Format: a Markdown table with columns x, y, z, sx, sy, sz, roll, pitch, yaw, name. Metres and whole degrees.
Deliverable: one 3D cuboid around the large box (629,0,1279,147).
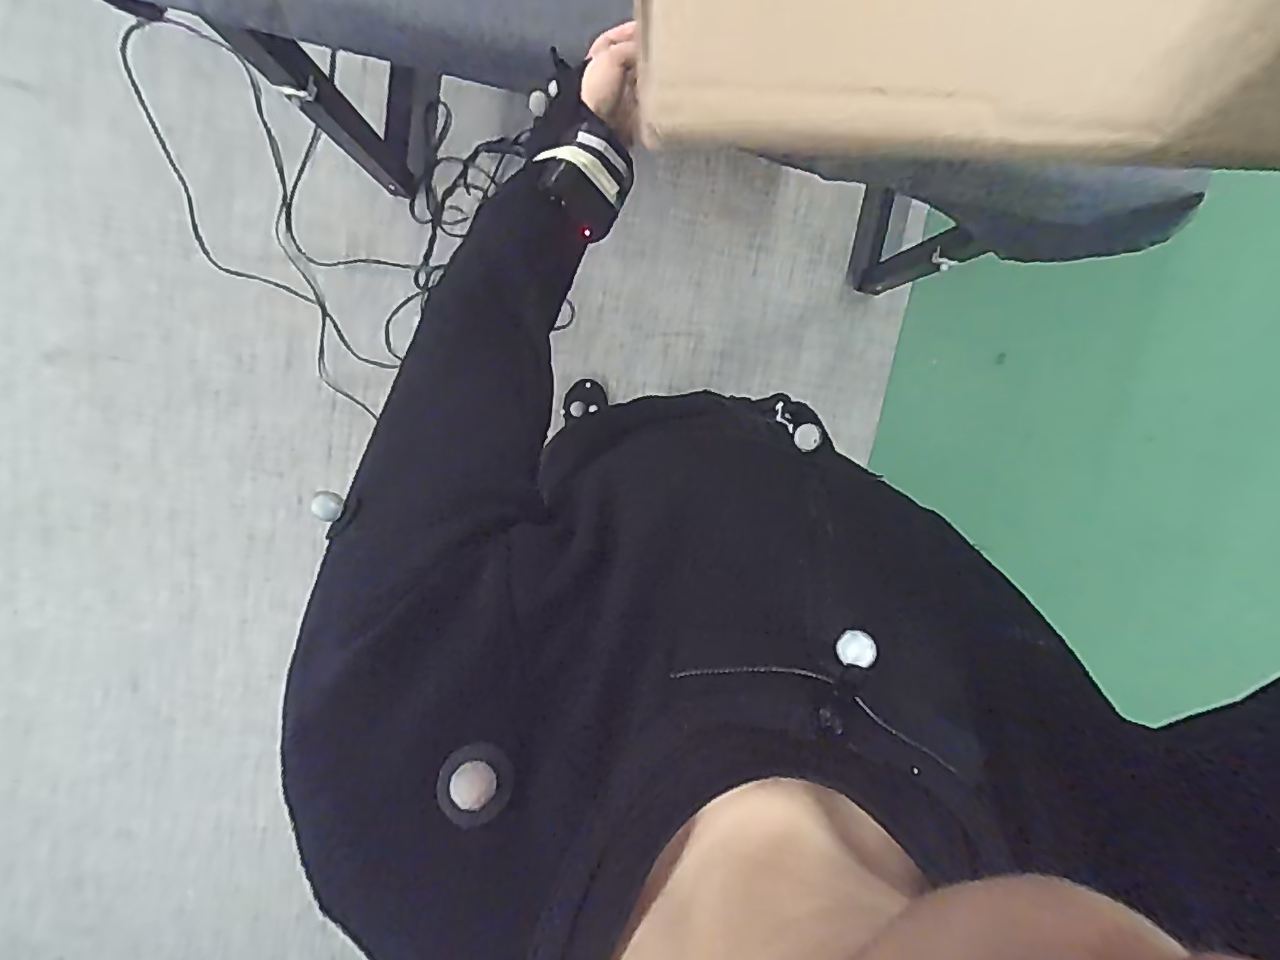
| x | y | z | sx | sy | sz | roll | pitch | yaw | name |
| --- | --- | --- | --- | --- | --- | --- | --- | --- | --- |
| 0.151 | -0.365 | 0.222 | 0.320 | 0.408 | 0.320 | -1 | 135 | -2 | large box |
